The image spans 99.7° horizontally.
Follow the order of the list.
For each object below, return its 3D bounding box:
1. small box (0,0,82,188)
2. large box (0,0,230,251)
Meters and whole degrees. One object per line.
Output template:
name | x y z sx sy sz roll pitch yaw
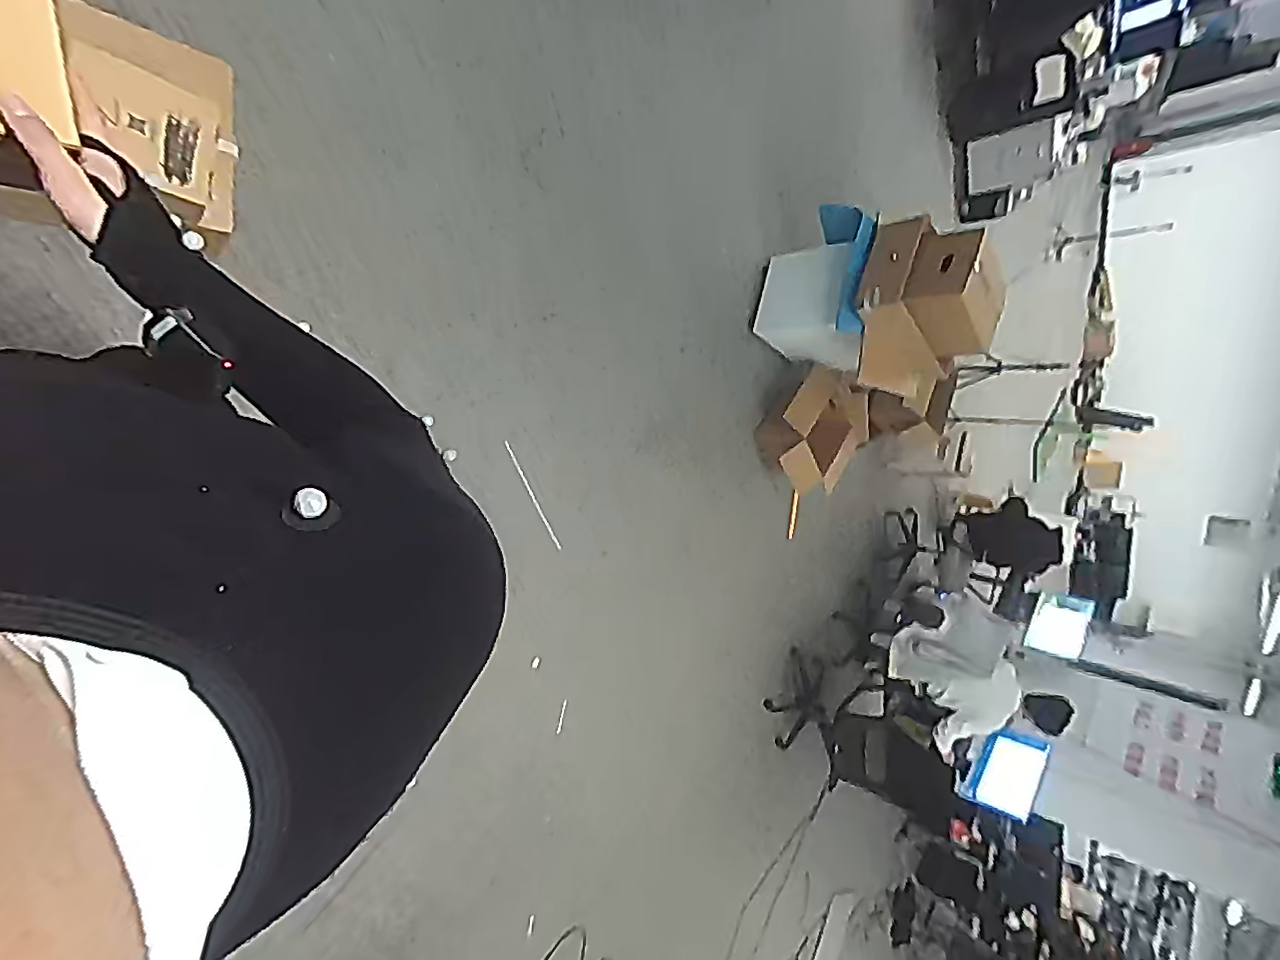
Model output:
small box | -0.569 -0.344 0.416 0.179 0.176 0.168 -12 106 -42
large box | -1.026 -0.650 0.999 0.408 0.320 0.320 -1 98 -43
